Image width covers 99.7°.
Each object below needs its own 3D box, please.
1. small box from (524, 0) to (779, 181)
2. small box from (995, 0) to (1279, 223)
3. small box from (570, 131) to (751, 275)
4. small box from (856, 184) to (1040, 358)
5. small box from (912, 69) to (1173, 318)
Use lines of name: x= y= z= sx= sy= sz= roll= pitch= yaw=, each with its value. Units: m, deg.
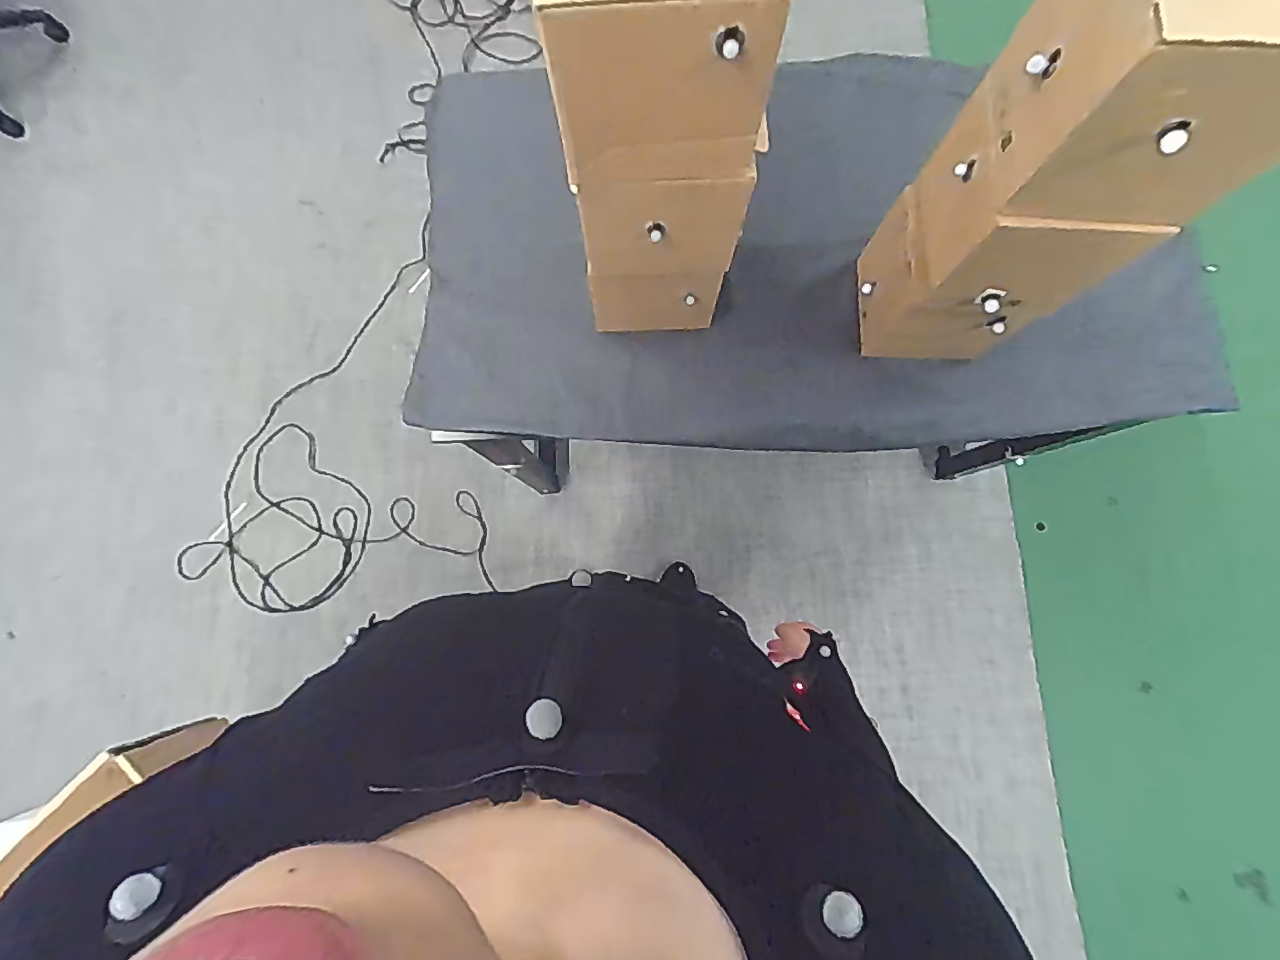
small box: x=0.006 y=-0.376 z=0.446 sx=0.179 sy=0.176 sz=0.168 roll=-5 pitch=80 yaw=-1
small box: x=0.415 y=-0.331 z=0.432 sx=0.179 sy=0.176 sz=0.168 roll=5 pitch=80 yaw=3
small box: x=0.018 y=-0.348 z=0.607 sx=0.179 sy=0.176 sz=0.168 roll=-2 pitch=81 yaw=1
small box: x=0.421 y=-0.279 z=0.753 sx=0.179 sy=0.176 sz=0.168 roll=2 pitch=79 yaw=1
small box: x=0.417 y=-0.300 z=0.593 sx=0.168 sy=0.176 sz=0.179 roll=3 pitch=81 yaw=3
